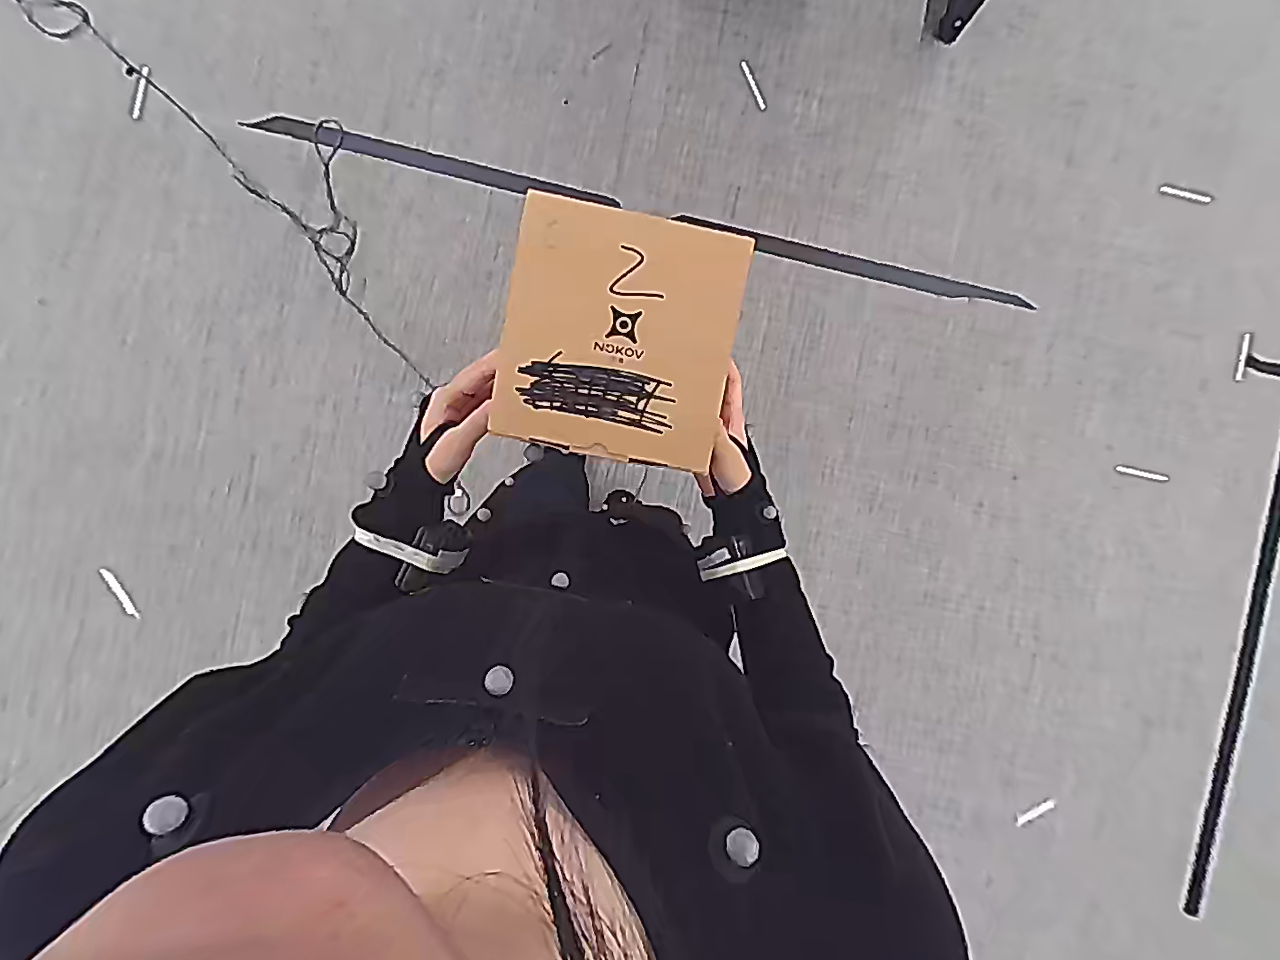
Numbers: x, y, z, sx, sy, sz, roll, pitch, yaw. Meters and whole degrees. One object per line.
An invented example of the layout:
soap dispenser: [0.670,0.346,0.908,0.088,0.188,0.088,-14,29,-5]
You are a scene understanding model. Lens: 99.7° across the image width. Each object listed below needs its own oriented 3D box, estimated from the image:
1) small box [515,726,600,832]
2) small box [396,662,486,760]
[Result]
small box: [-0.206,0.761,1.394,0.179,0.176,0.168,13,90,-4]
small box: [-0.499,0.581,1.379,0.168,0.176,0.179,6,91,-3]
